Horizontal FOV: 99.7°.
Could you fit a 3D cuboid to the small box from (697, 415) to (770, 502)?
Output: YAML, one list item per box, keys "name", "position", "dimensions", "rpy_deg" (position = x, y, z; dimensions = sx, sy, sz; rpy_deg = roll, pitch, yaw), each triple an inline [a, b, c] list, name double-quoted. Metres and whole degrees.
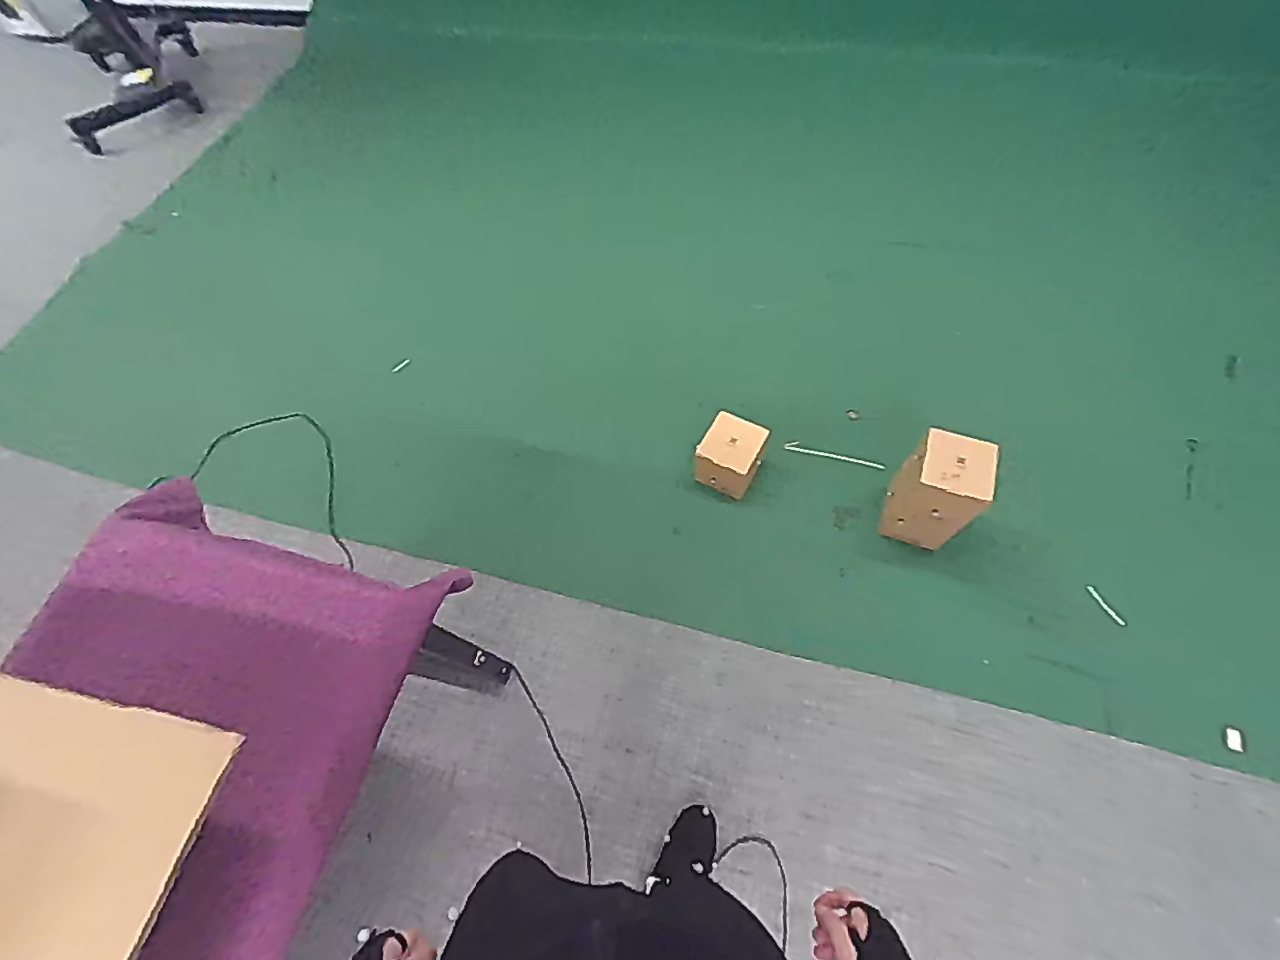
- name: "small box"
  position: [0.284, -0.063, 1.686]
  dimensions: [0.168, 0.176, 0.179]
  rpy_deg: [26, 68, 17]

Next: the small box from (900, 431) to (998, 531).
- name: "small box"
  position: [0.802, 0.006, 1.416]
  dimensions: [0.168, 0.176, 0.179]
  rpy_deg: [18, 65, 14]
